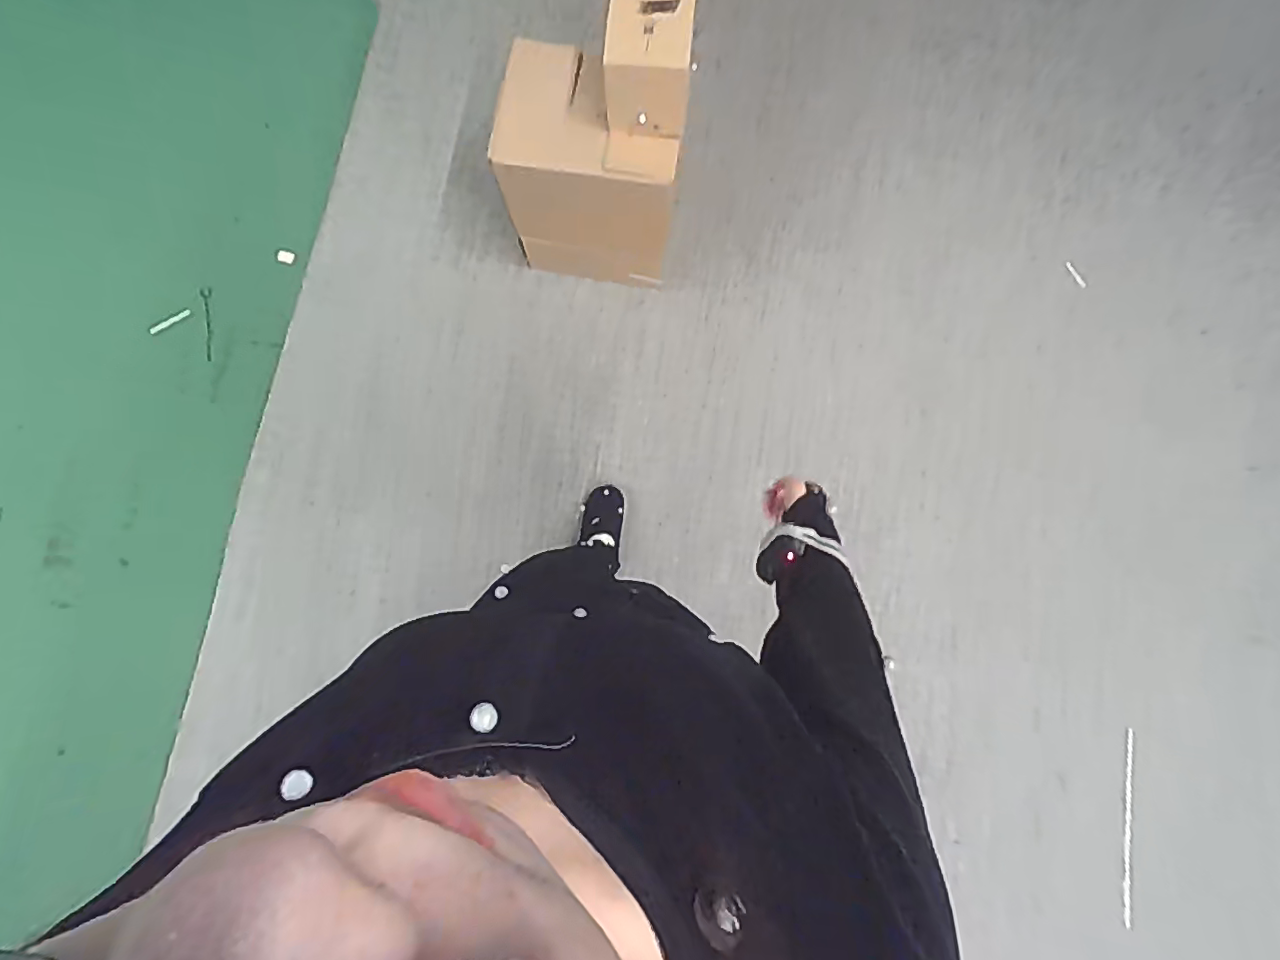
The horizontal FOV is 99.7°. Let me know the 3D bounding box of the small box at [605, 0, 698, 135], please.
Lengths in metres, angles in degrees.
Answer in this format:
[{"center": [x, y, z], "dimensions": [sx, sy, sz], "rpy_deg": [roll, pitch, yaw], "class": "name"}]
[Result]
[{"center": [0.024, -0.858, 1.113], "dimensions": [0.168, 0.176, 0.179], "rpy_deg": [6, 83, 2], "class": "small box"}]
